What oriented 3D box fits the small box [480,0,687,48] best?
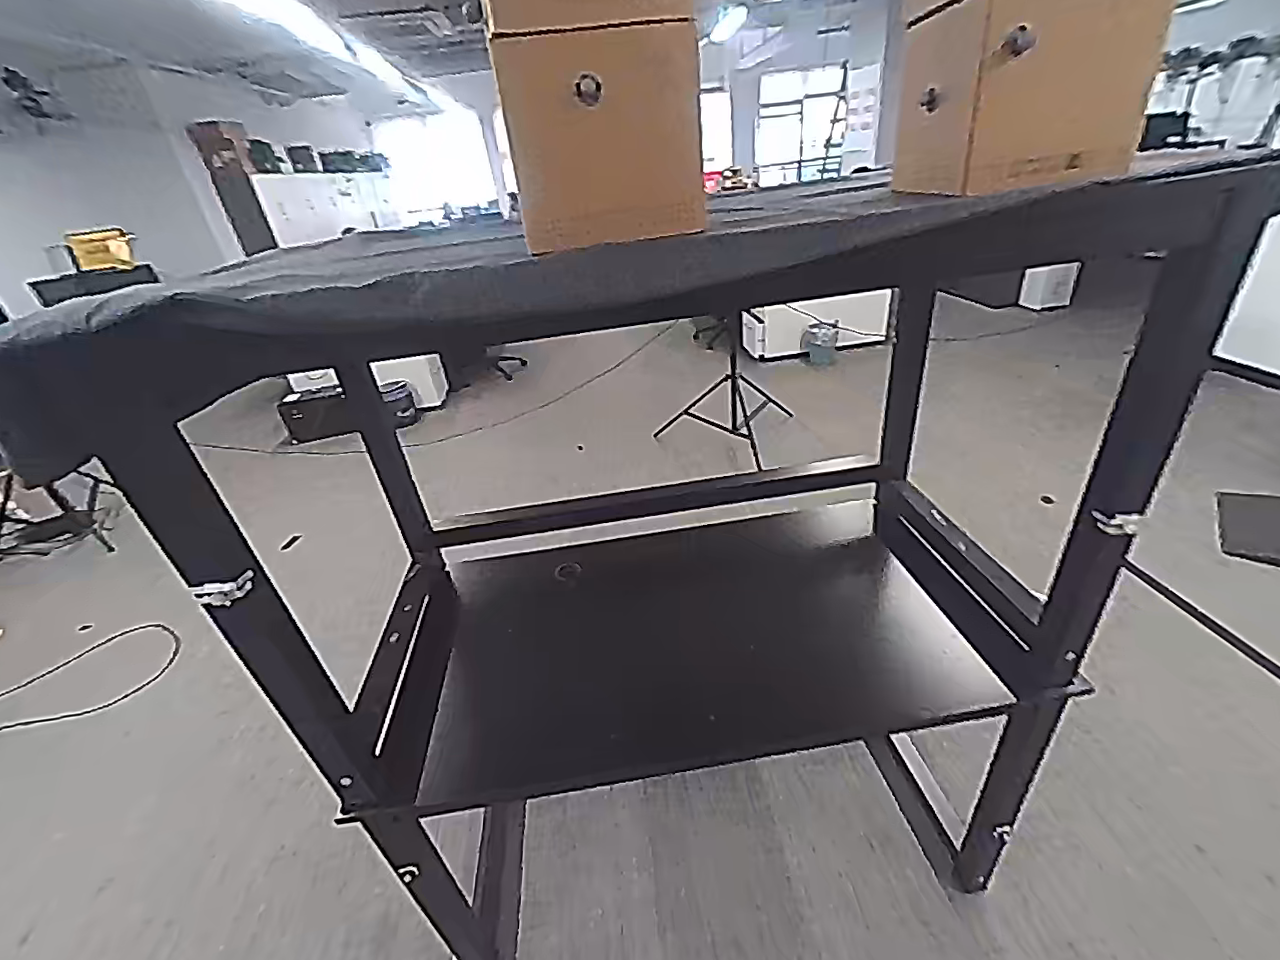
[{"bbox_3d":[-0.061,-0.479,0.482,0.179,0.176,0.168,-13,28,-8],"label":"small box"}]

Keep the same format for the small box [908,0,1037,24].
[{"bbox_3d":[0.365,-0.546,0.490,0.168,0.176,0.179,-8,30,2],"label":"small box"}]

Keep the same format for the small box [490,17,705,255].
[{"bbox_3d":[-0.040,-0.334,0.552,0.179,0.176,0.168,-10,29,-5],"label":"small box"}]
